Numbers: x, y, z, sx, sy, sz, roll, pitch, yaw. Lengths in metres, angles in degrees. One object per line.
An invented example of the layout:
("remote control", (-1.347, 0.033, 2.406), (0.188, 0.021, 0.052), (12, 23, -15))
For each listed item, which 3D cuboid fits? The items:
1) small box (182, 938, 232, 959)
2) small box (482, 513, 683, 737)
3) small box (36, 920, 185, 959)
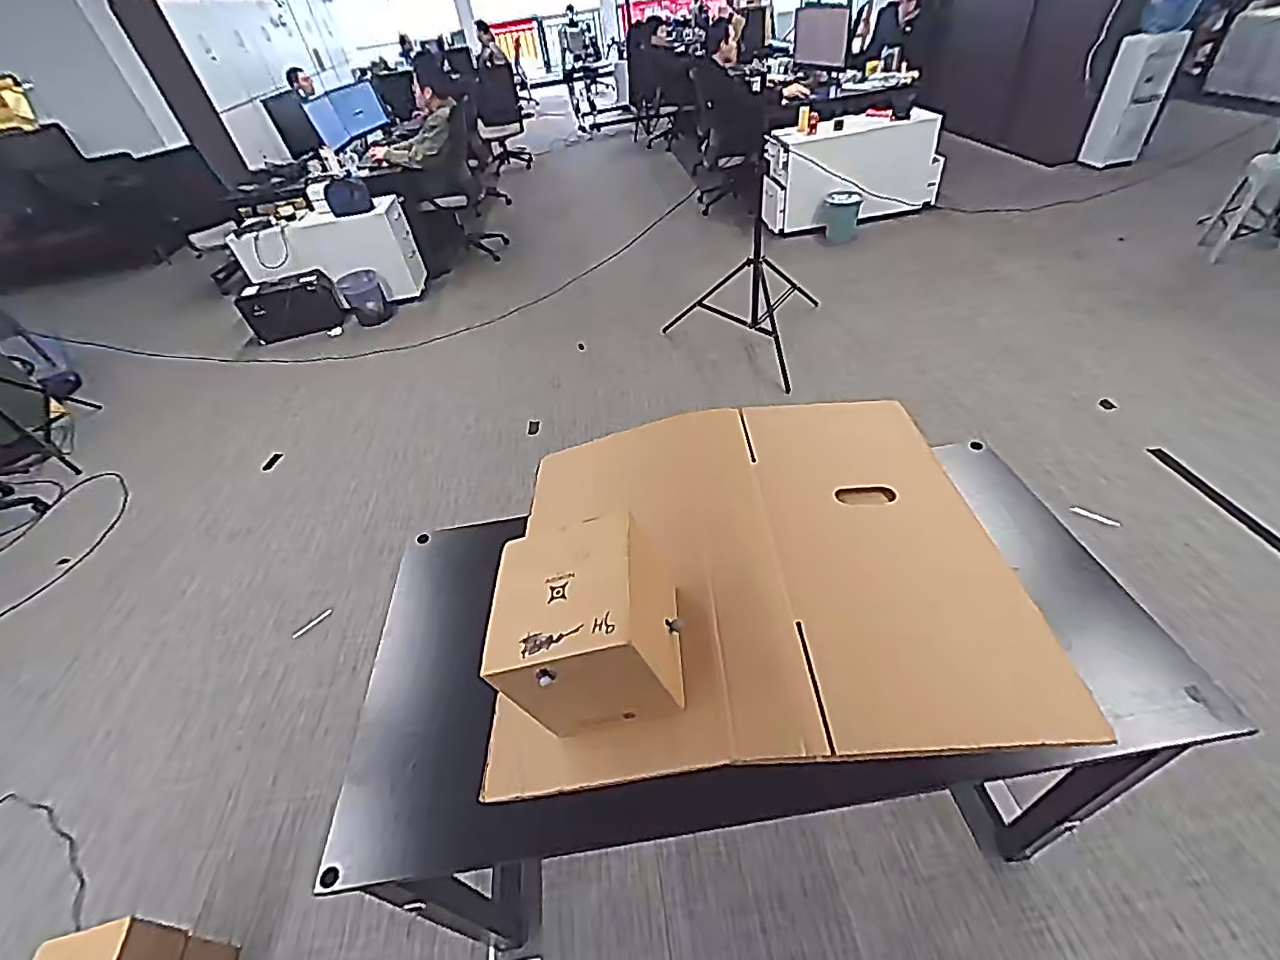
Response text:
("small box", (-0.993, 1.091, 1.119), (0.168, 0.176, 0.179), (-12, 43, -3))
("small box", (-0.056, 0.172, 0.635), (0.168, 0.176, 0.179), (-17, 41, 13))
("small box", (-1.014, 0.969, 1.013), (0.168, 0.176, 0.179), (-14, 42, -6))
